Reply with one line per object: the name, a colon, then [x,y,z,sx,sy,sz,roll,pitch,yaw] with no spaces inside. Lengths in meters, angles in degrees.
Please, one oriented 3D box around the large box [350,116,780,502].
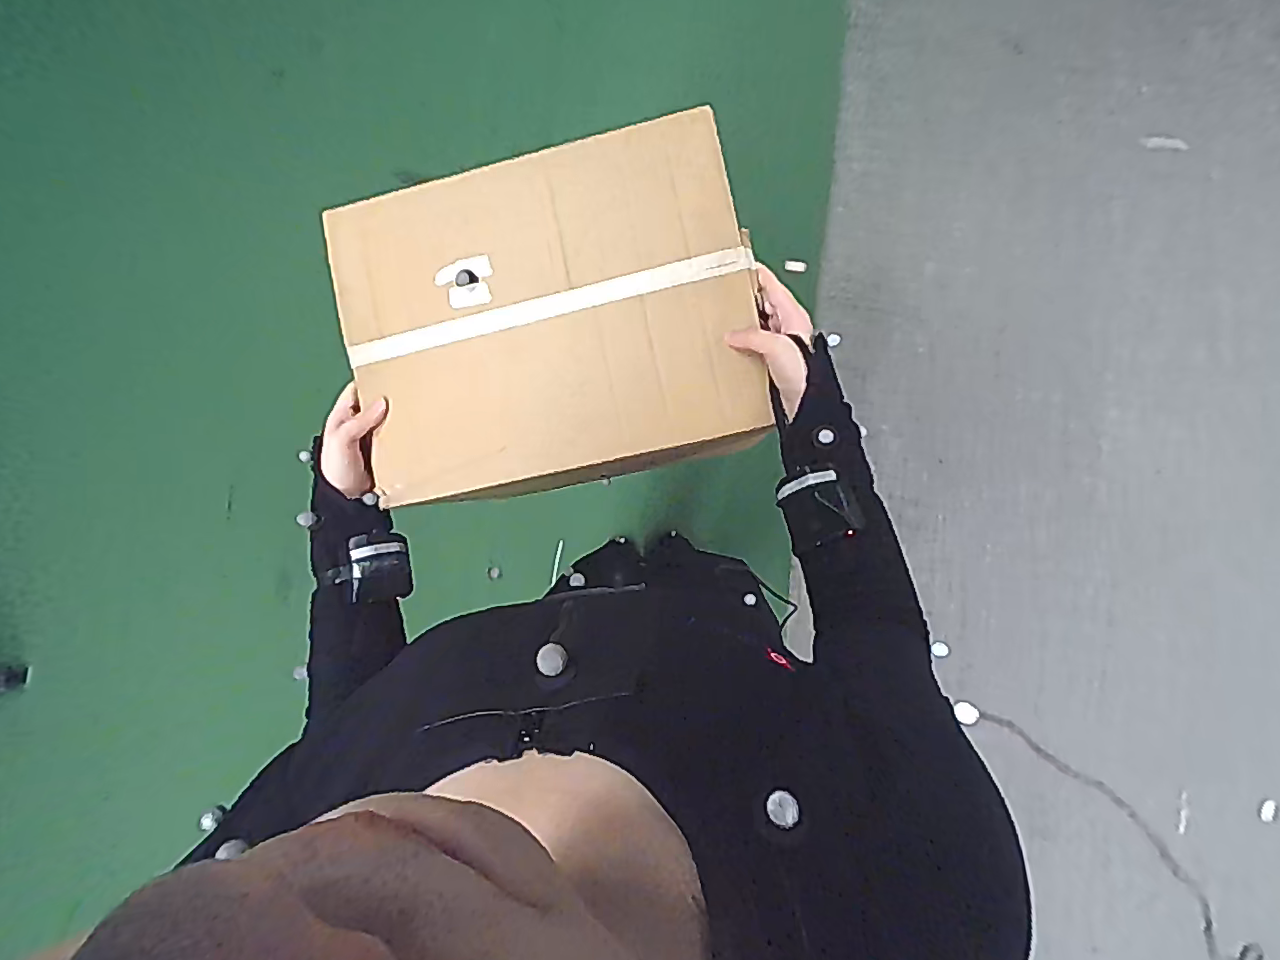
large box: [-0.067,-0.166,0.691,0.408,0.320,0.320,-11,87,7]
